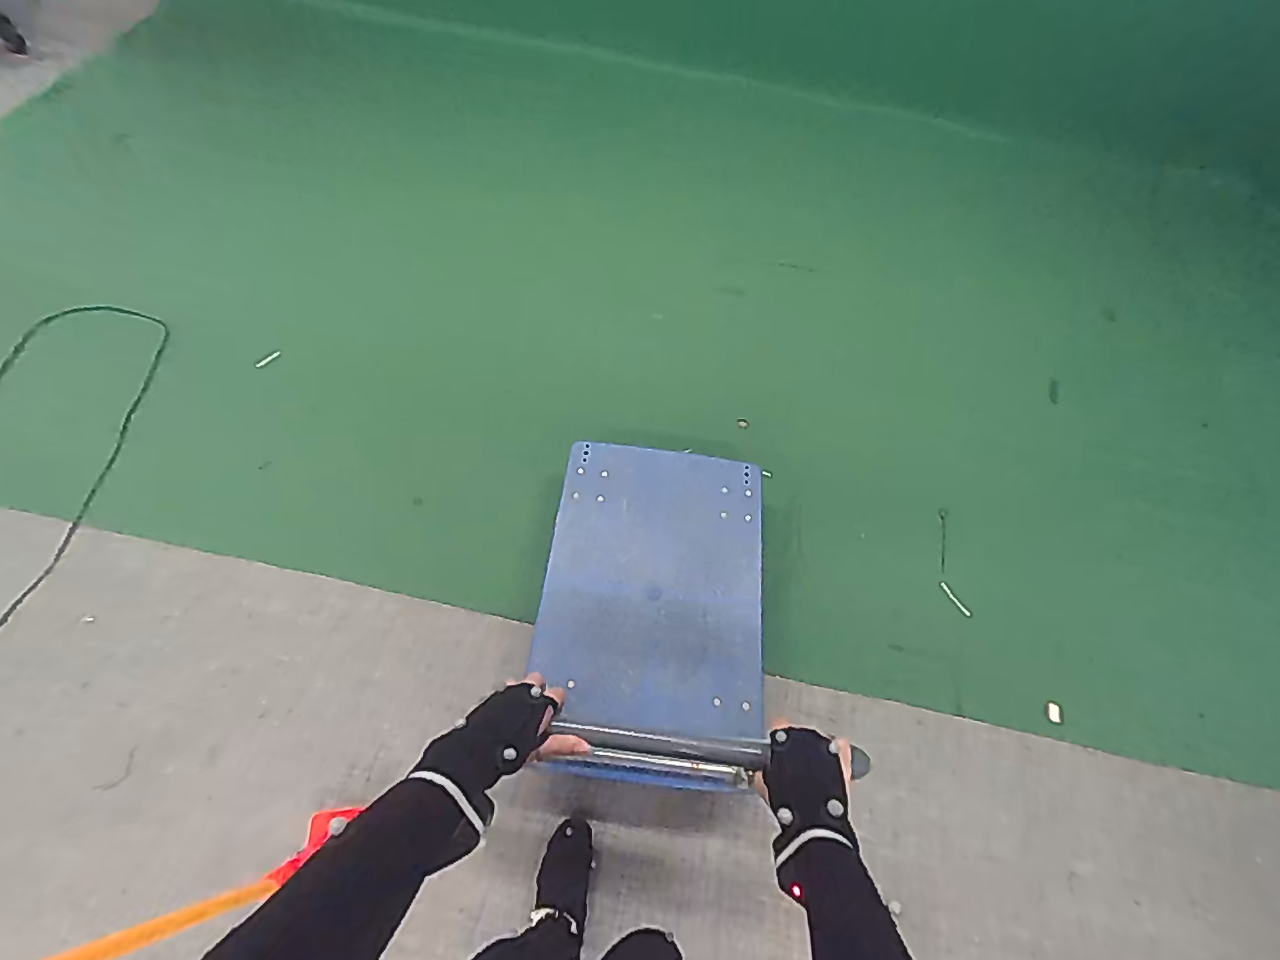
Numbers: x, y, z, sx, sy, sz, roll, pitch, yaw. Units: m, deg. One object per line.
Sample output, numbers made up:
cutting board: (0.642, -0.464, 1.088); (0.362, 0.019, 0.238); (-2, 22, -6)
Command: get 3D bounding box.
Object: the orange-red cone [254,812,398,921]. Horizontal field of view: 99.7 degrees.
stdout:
orange-red cone: (-0.650, 0.783, 1.069); (0.199, 0.360, 0.198); (-1, 61, -5)
